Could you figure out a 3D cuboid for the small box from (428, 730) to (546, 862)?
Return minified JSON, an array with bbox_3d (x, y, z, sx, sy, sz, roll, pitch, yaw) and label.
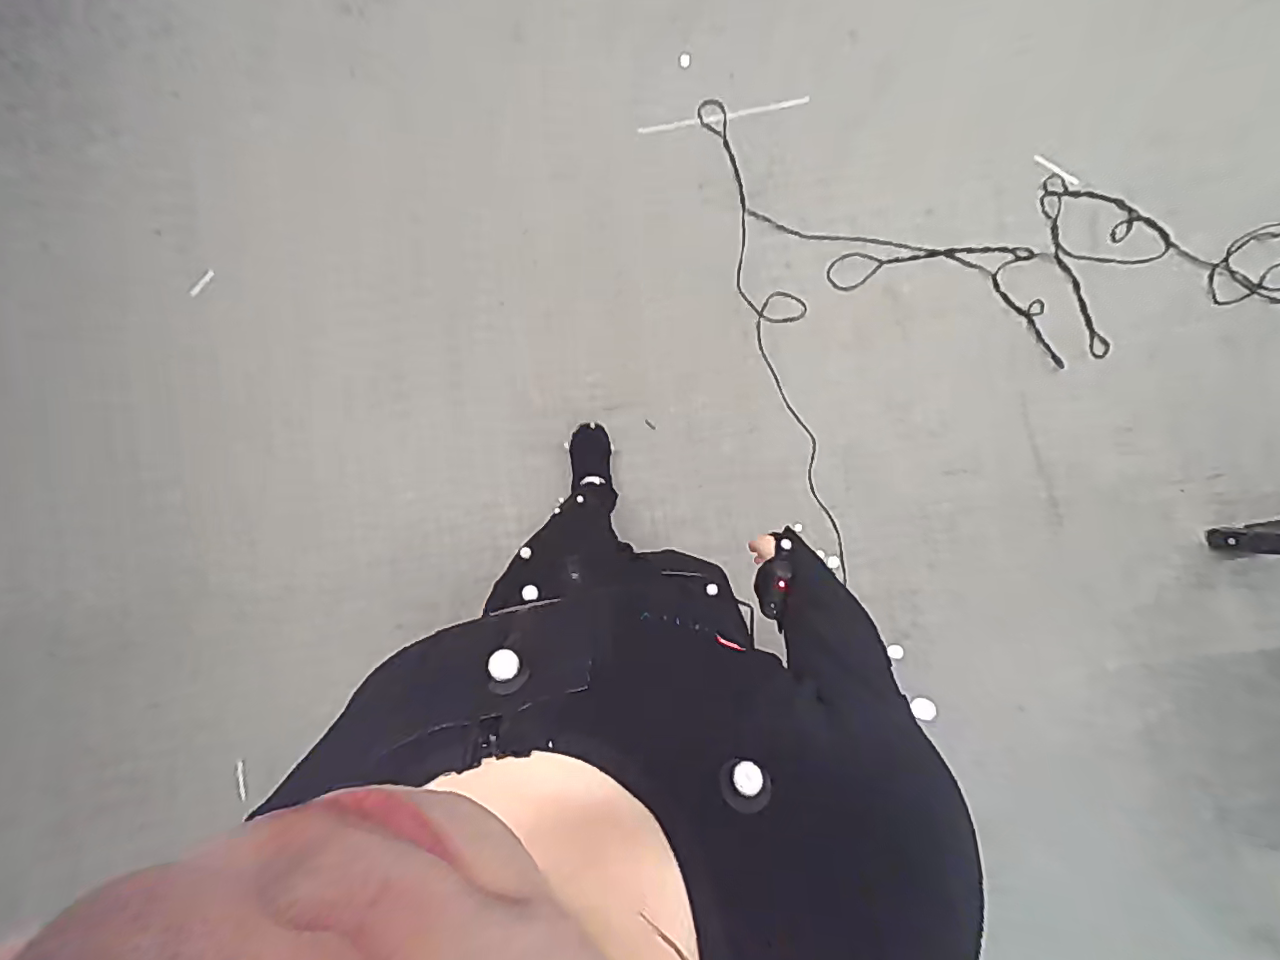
[{"bbox_3d":[-0.291,0.605,1.056,0.179,0.176,0.168,1,88,1],"label":"small box"}]
